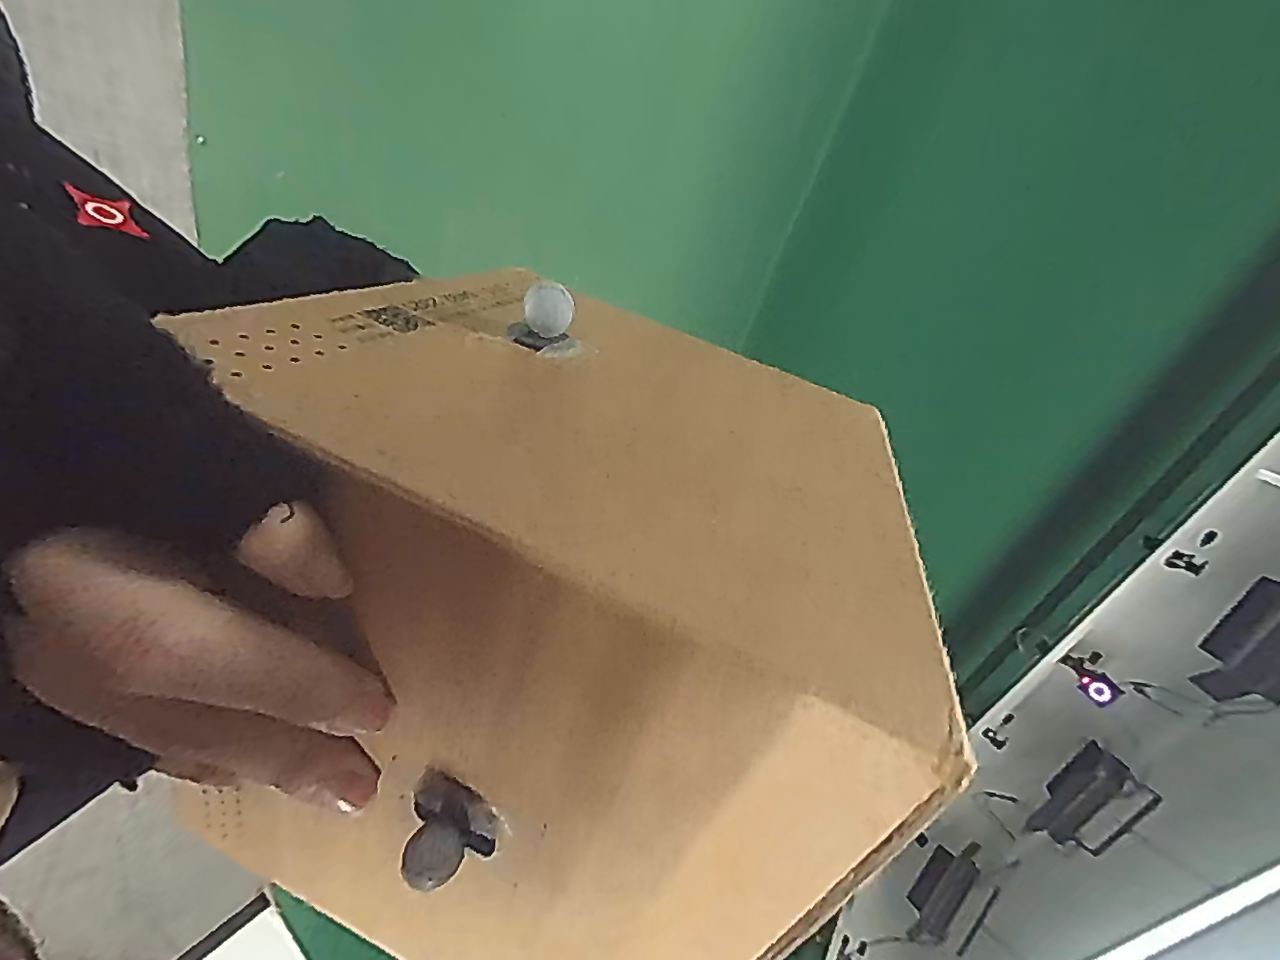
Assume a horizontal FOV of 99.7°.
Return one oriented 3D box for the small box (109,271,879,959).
[{"bbox_3d":[-0.038,0.040,0.207,0.168,0.176,0.179,-56,167,-61],"label":"small box"}]
